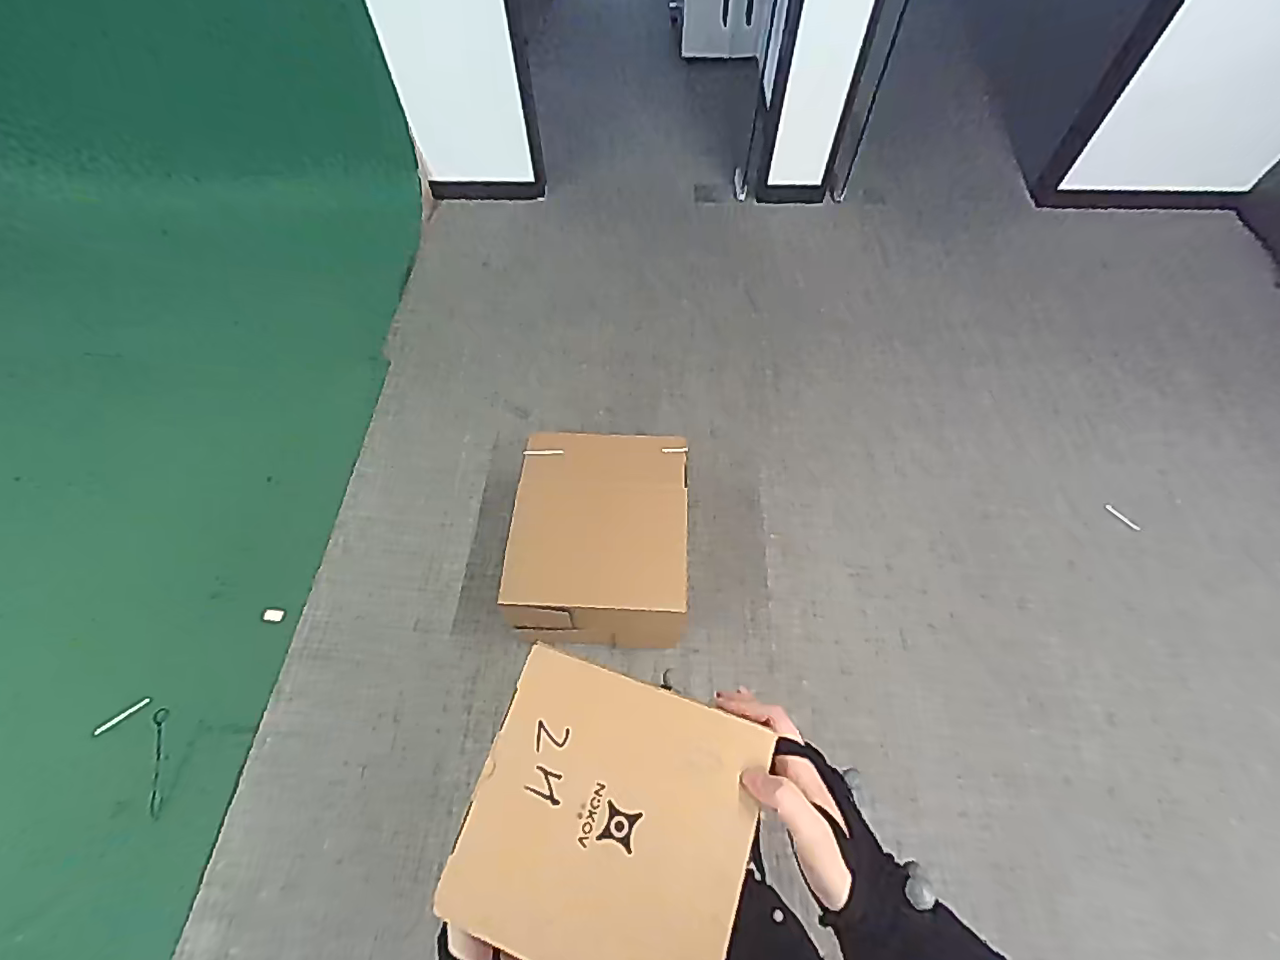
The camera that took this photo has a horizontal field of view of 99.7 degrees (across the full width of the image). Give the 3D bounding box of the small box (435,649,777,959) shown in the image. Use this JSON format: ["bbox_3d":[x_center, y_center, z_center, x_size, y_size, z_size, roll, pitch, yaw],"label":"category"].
[{"bbox_3d":[-0.012,0.241,0.413,0.179,0.176,0.168,16,71,11],"label":"small box"}]
